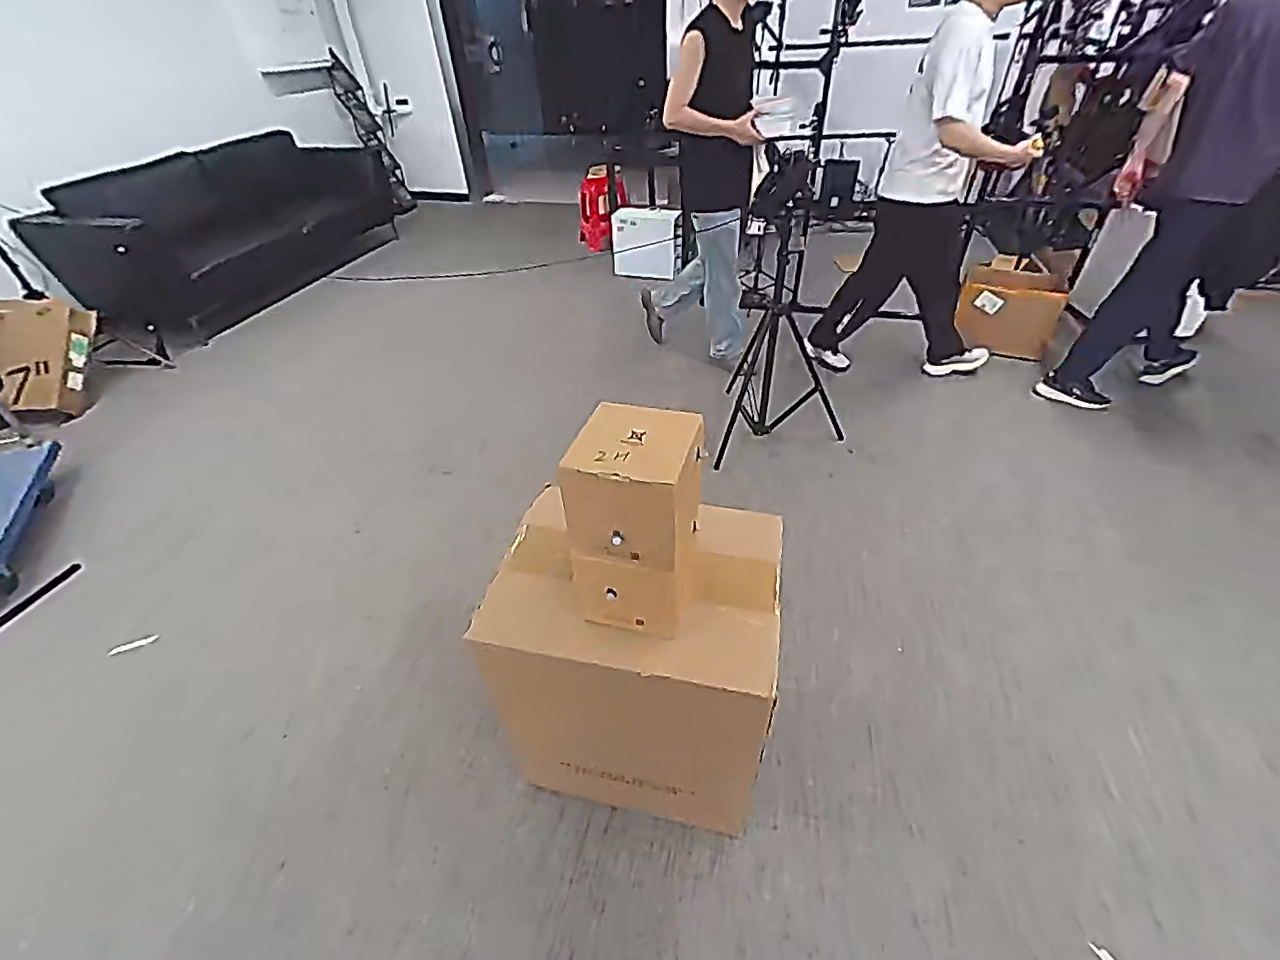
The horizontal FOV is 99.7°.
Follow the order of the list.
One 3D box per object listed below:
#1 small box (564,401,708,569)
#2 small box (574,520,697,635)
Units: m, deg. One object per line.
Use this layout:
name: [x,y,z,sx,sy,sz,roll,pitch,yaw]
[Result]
small box: [0.001,0.004,0.816,0.168,0.176,0.179,9,41,15]
small box: [0.003,0.136,0.916,0.168,0.176,0.179,8,40,13]
